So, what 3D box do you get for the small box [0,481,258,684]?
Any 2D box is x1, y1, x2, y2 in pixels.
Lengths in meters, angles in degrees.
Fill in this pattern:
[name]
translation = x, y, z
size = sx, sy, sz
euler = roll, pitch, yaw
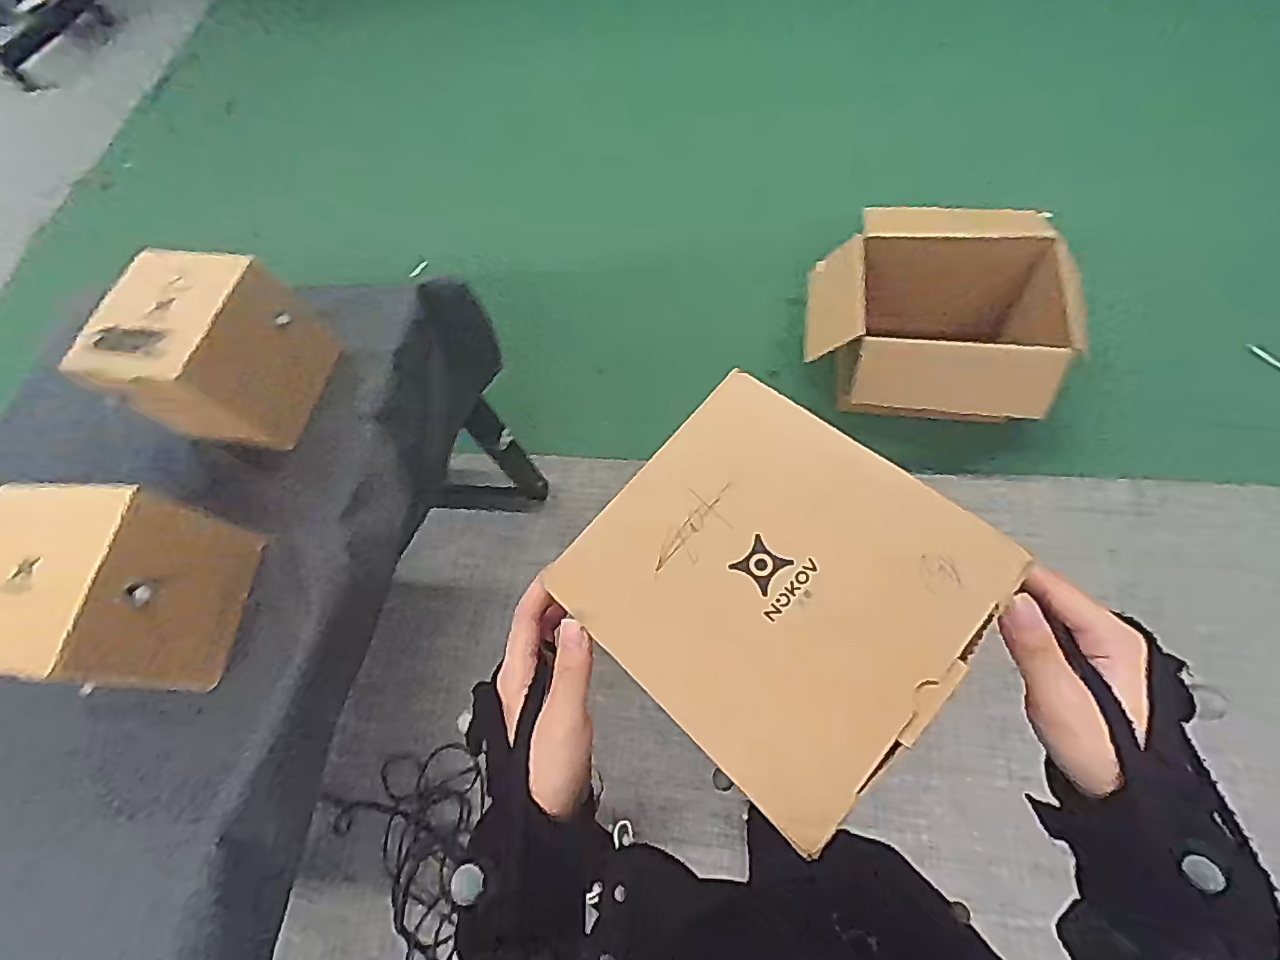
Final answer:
[small box]
translation = -0.551, 0.113, 0.567
size = 0.168, 0.176, 0.179
euler = 0, 67, 9
